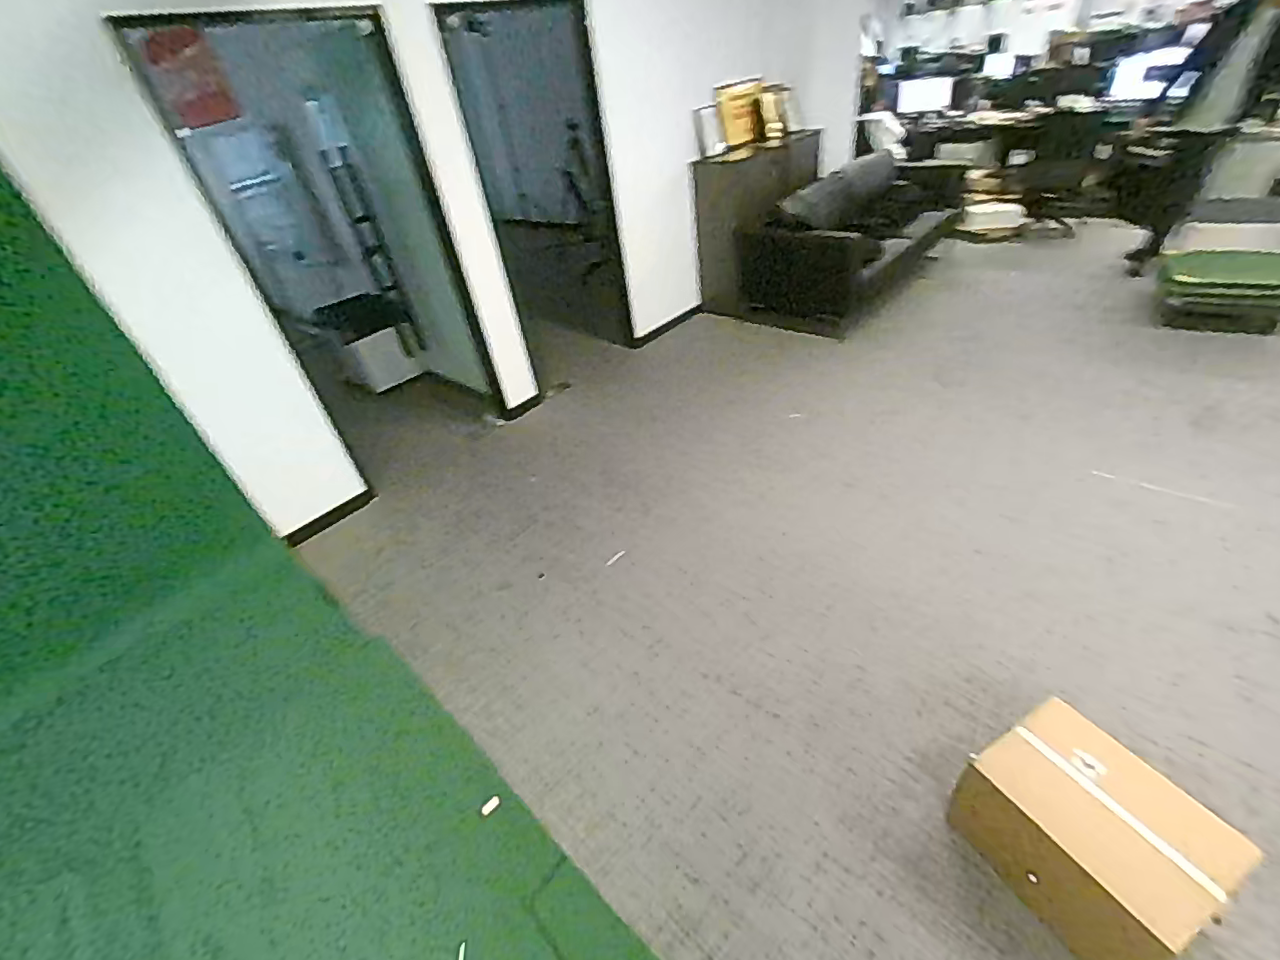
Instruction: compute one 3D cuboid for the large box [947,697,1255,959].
[{"bbox_3d":[1.007,0.809,1.243,0.320,0.320,0.408,-24,37,-18],"label":"large box"}]
